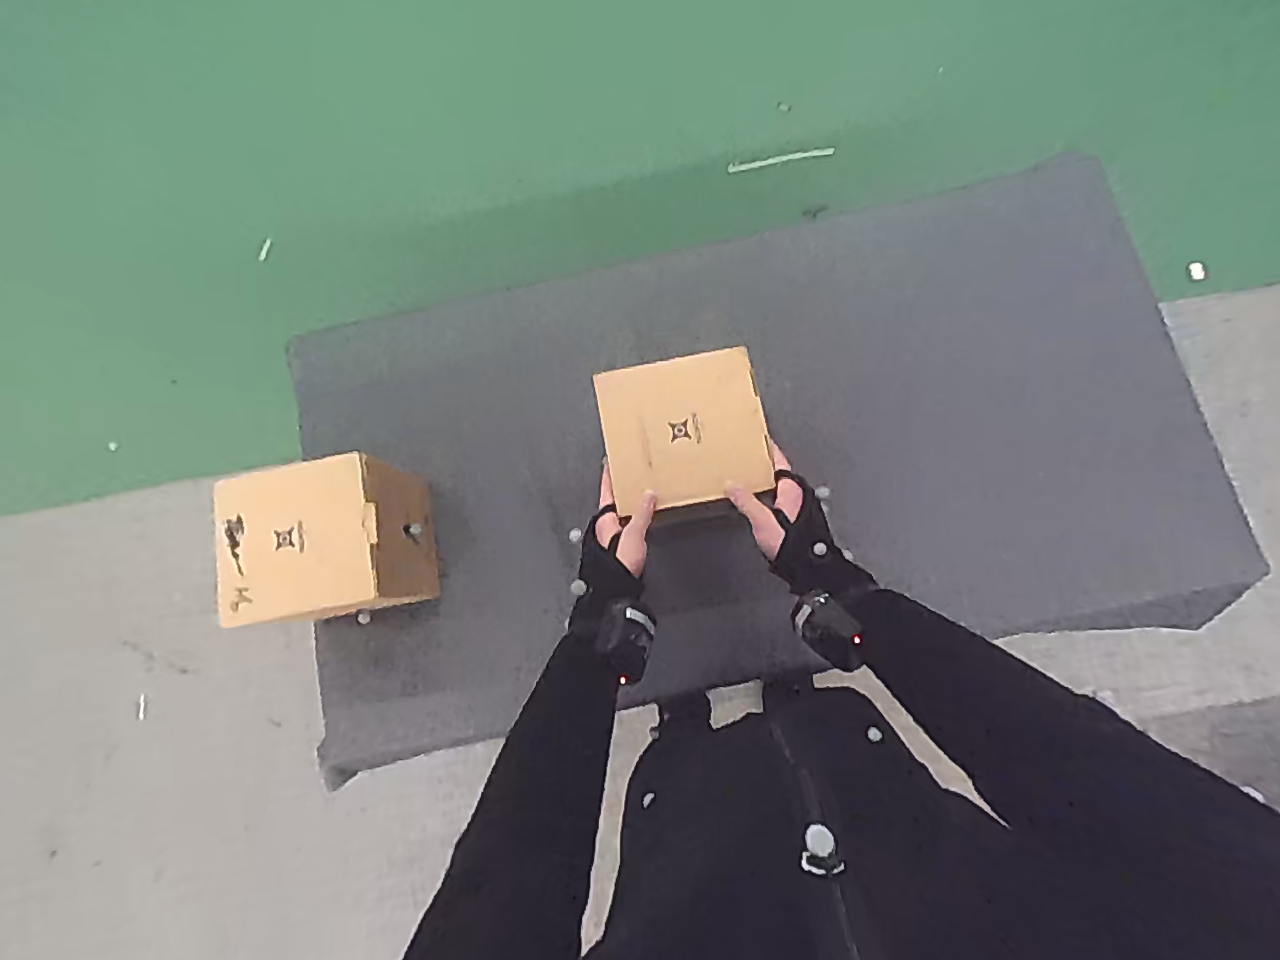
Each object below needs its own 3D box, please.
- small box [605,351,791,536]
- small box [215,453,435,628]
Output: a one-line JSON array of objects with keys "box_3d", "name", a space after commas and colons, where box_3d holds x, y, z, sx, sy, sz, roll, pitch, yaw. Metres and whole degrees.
[{"box_3d": [0.064, -0.033, 0.656, 0.179, 0.176, 0.168, -11, 76, 2], "name": "small box"}, {"box_3d": [-0.362, 0.078, 0.652, 0.179, 0.176, 0.168, -10, 77, -1], "name": "small box"}]
